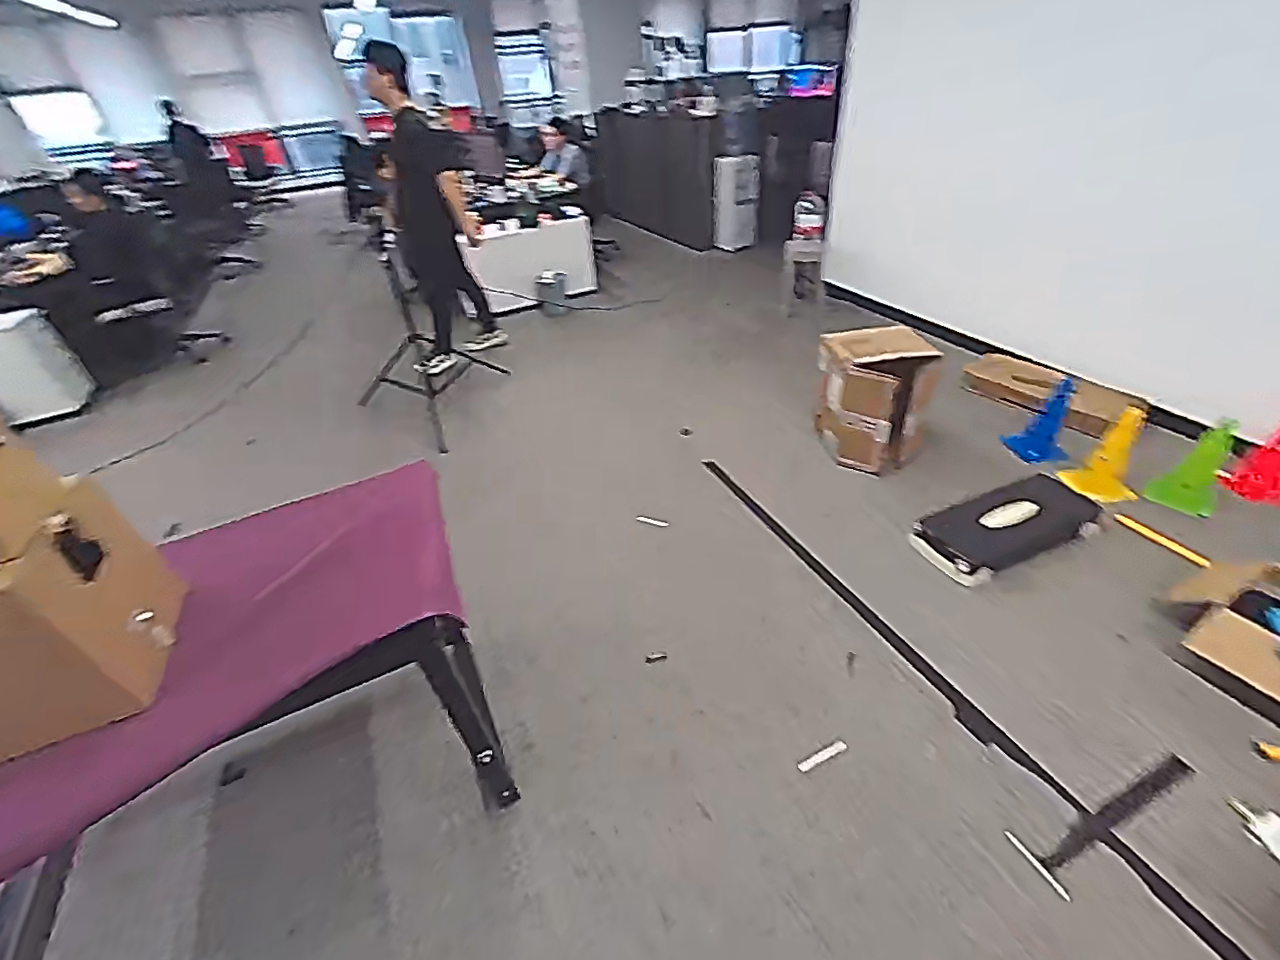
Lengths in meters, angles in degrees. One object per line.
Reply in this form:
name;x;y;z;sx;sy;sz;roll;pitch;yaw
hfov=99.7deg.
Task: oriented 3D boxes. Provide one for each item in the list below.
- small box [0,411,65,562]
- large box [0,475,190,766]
small box;-0.988;0.021;0.763;0.168;0.176;0.179;-20;39;-15
large box;-1.068;0.251;0.881;0.408;0.320;0.320;-20;37;-16
